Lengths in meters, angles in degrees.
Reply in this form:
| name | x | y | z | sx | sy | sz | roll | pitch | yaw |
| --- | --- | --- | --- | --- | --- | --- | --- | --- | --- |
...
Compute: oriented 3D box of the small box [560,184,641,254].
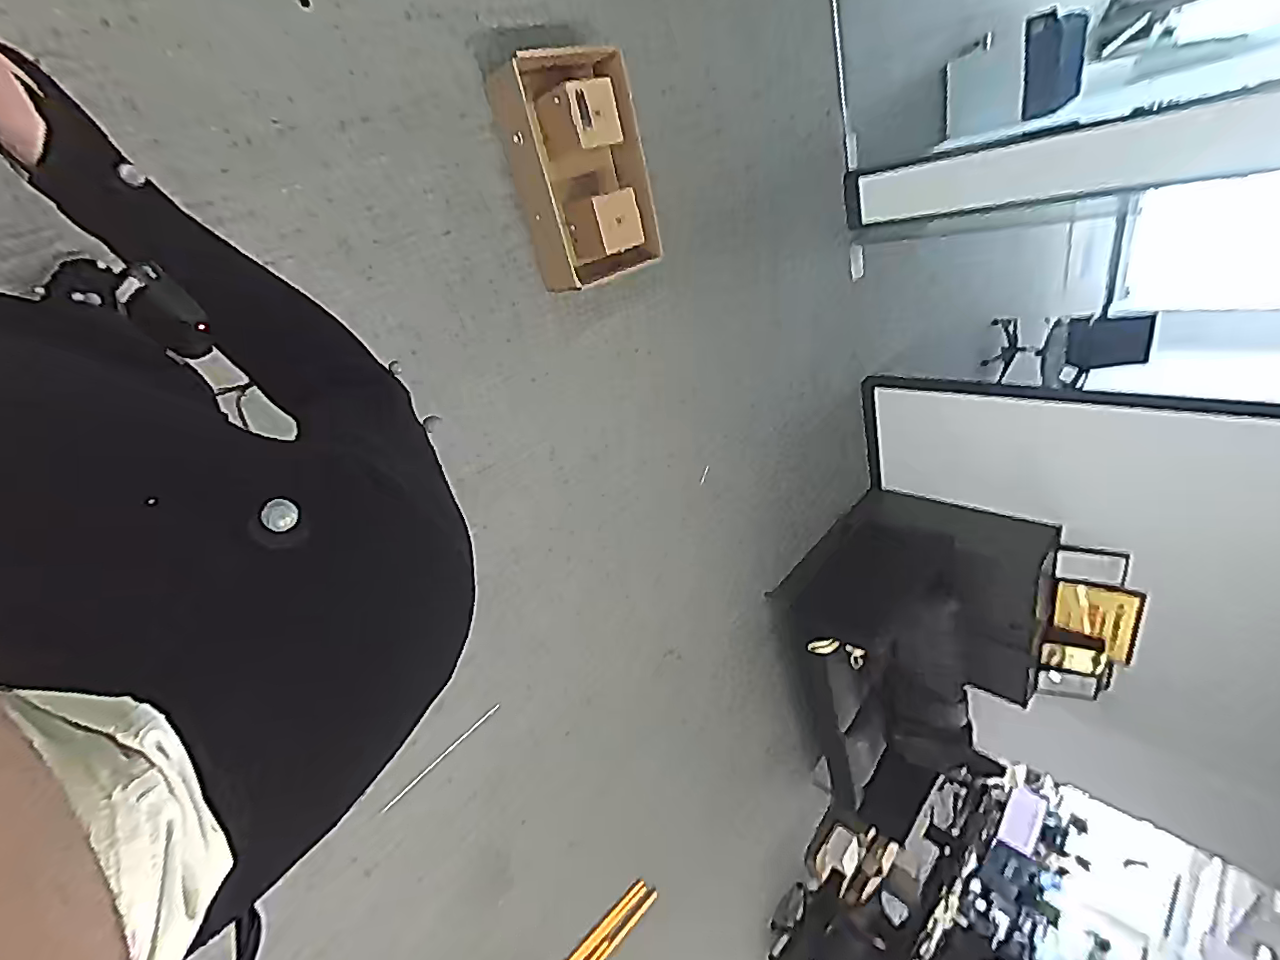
| name | x | y | z | sx | sy | sz | roll | pitch | yaw |
| --- | --- | --- | --- | --- | --- | --- | --- | --- | --- |
| small box | -0.130 | -0.845 | 1.755 | 0.179 | 0.176 | 0.168 | -34 | 122 | -32 |
